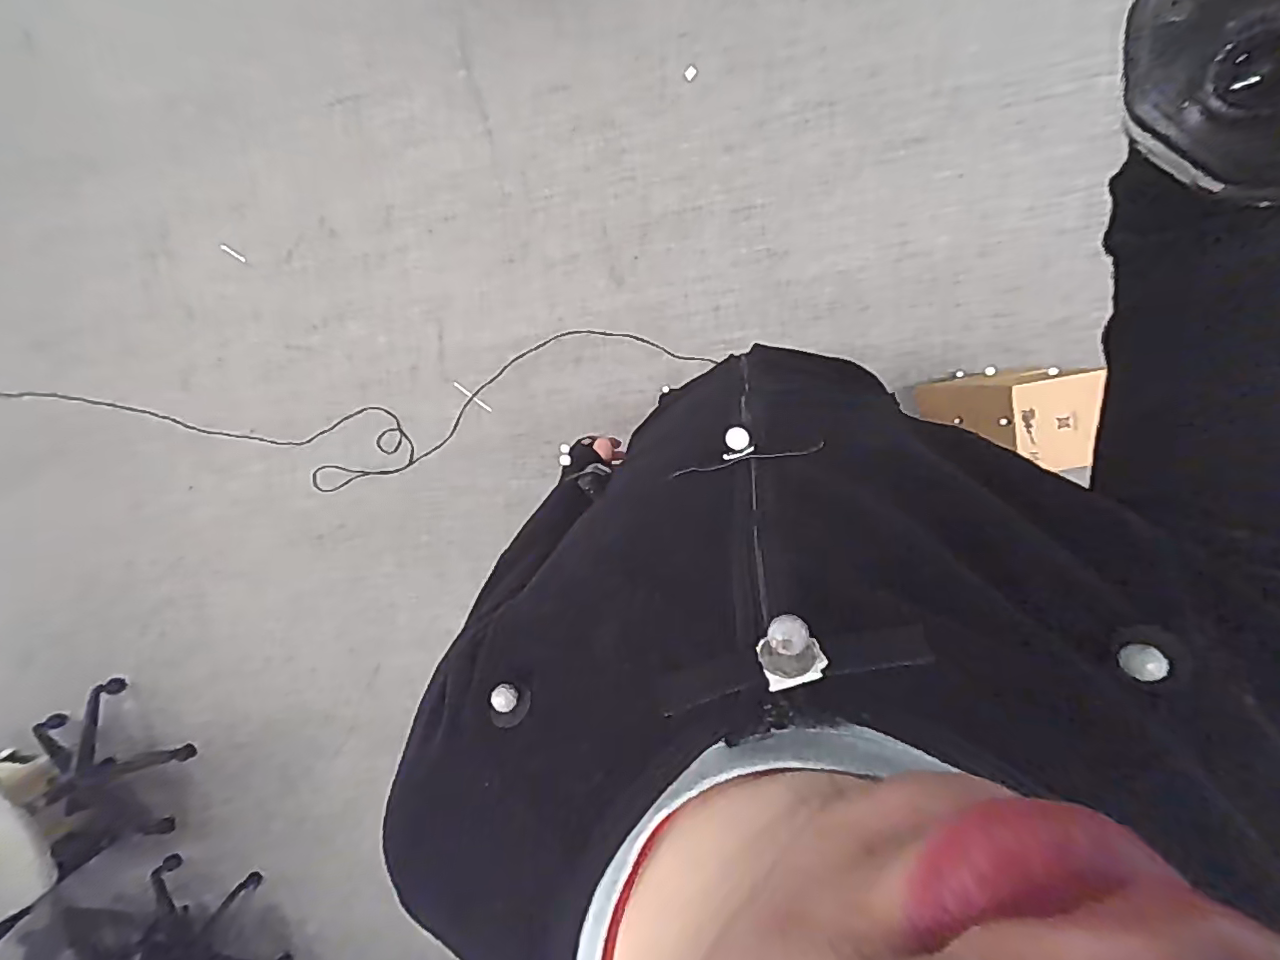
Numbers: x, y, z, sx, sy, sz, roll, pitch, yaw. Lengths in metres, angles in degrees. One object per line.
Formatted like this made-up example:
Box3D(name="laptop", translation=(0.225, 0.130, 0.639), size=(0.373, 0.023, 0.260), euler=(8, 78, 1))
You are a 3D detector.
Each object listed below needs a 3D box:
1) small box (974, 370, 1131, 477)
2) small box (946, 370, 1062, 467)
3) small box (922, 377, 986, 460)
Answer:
Box3D(name="small box", translation=(0.770, -0.111, 1.023), size=(0.179, 0.176, 0.168), euler=(-10, 98, 10))
Box3D(name="small box", translation=(0.796, -0.137, 1.182), size=(0.168, 0.176, 0.179), euler=(-11, 97, 11))
Box3D(name="small box", translation=(0.823, -0.158, 1.343), size=(0.168, 0.176, 0.179), euler=(-11, 96, 11))
